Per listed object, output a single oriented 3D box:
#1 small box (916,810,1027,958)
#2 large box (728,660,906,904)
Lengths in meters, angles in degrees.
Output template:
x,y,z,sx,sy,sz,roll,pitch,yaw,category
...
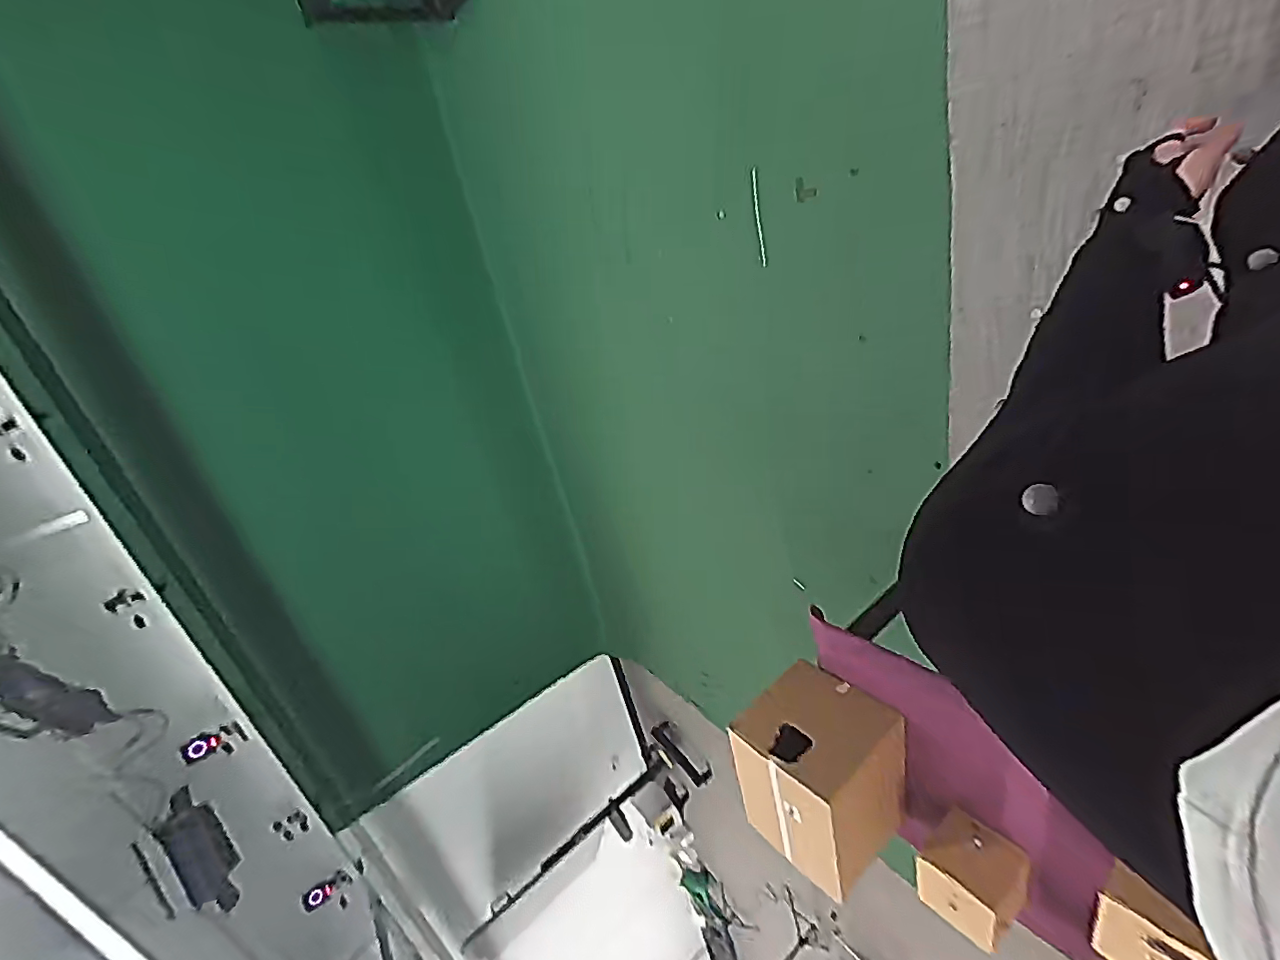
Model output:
x,y,z,sx,sy,sz,roll,pitch,yaw,category
0.760,0.918,1.242,0.168,0.176,0.179,18,129,51,small box
0.478,0.776,1.436,0.320,0.320,0.408,18,128,50,large box
